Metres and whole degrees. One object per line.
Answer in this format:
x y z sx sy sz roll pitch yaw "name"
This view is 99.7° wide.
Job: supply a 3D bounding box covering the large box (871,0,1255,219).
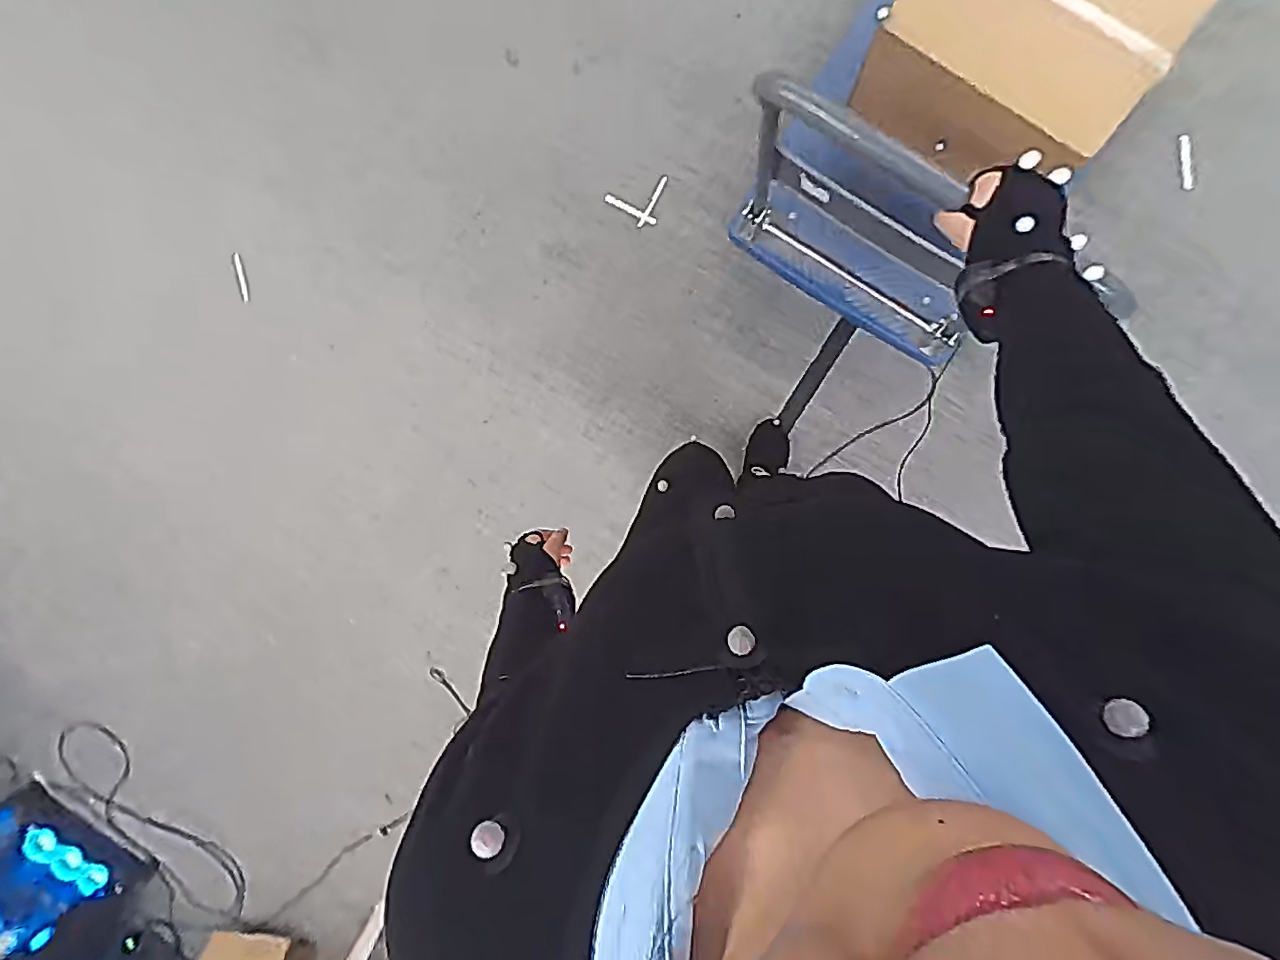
0.702 -0.752 0.960 0.408 0.320 0.320 39 102 4 "large box"
